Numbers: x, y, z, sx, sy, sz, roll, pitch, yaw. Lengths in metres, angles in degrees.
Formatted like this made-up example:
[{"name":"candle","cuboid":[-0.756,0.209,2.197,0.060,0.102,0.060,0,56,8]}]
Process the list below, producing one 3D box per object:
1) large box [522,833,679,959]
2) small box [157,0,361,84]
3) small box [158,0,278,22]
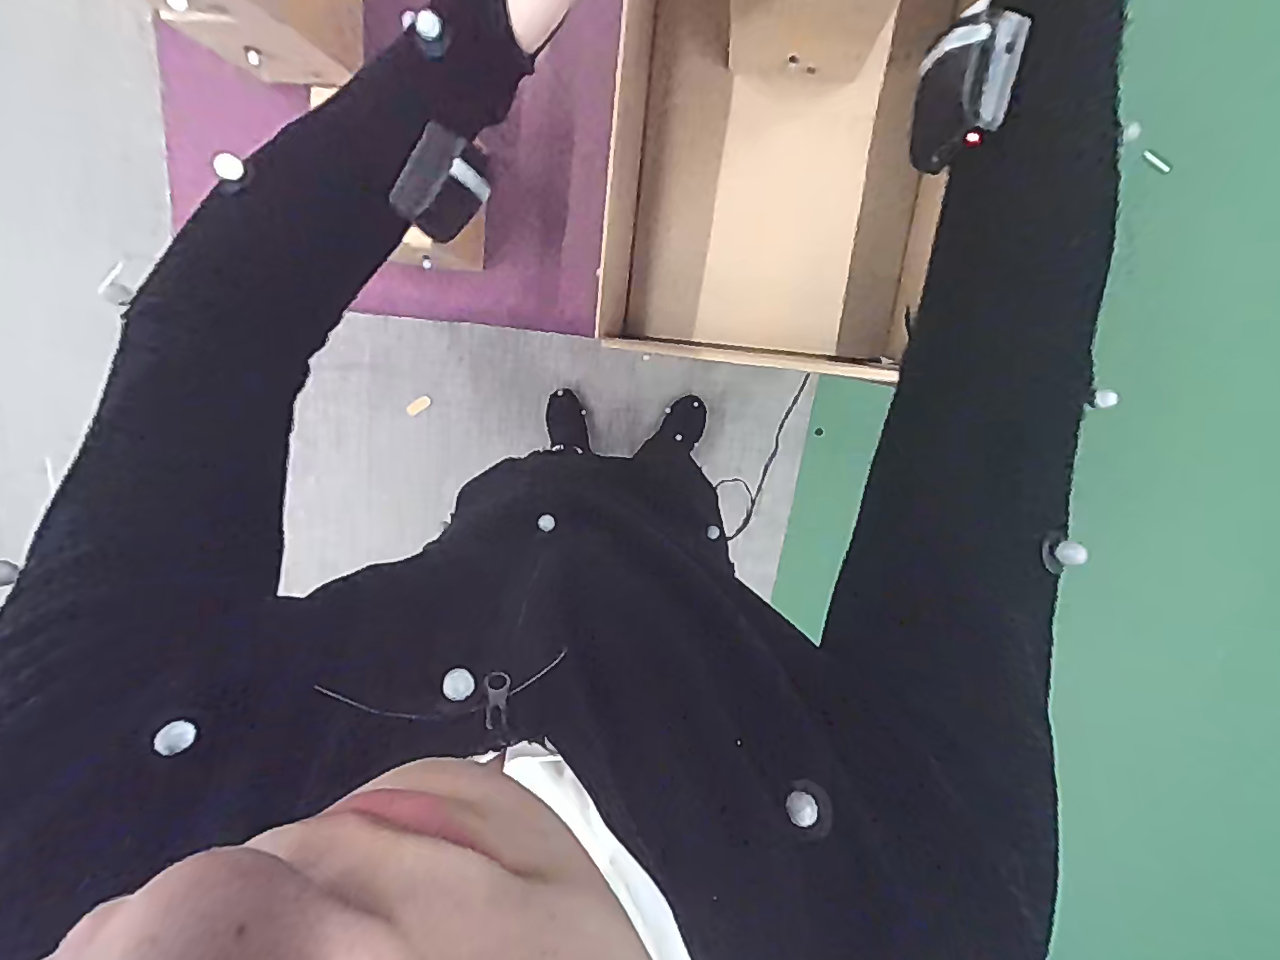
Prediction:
[{"name":"large box","cuboid":[-0.114,1.479,1.811,0.408,0.320,0.320,-24,99,10]},{"name":"small box","cuboid":[-0.495,-0.663,0.718,0.168,0.176,0.179,6,102,6]},{"name":"small box","cuboid":[-0.507,-0.630,0.557,0.168,0.176,0.179,11,104,5]}]
